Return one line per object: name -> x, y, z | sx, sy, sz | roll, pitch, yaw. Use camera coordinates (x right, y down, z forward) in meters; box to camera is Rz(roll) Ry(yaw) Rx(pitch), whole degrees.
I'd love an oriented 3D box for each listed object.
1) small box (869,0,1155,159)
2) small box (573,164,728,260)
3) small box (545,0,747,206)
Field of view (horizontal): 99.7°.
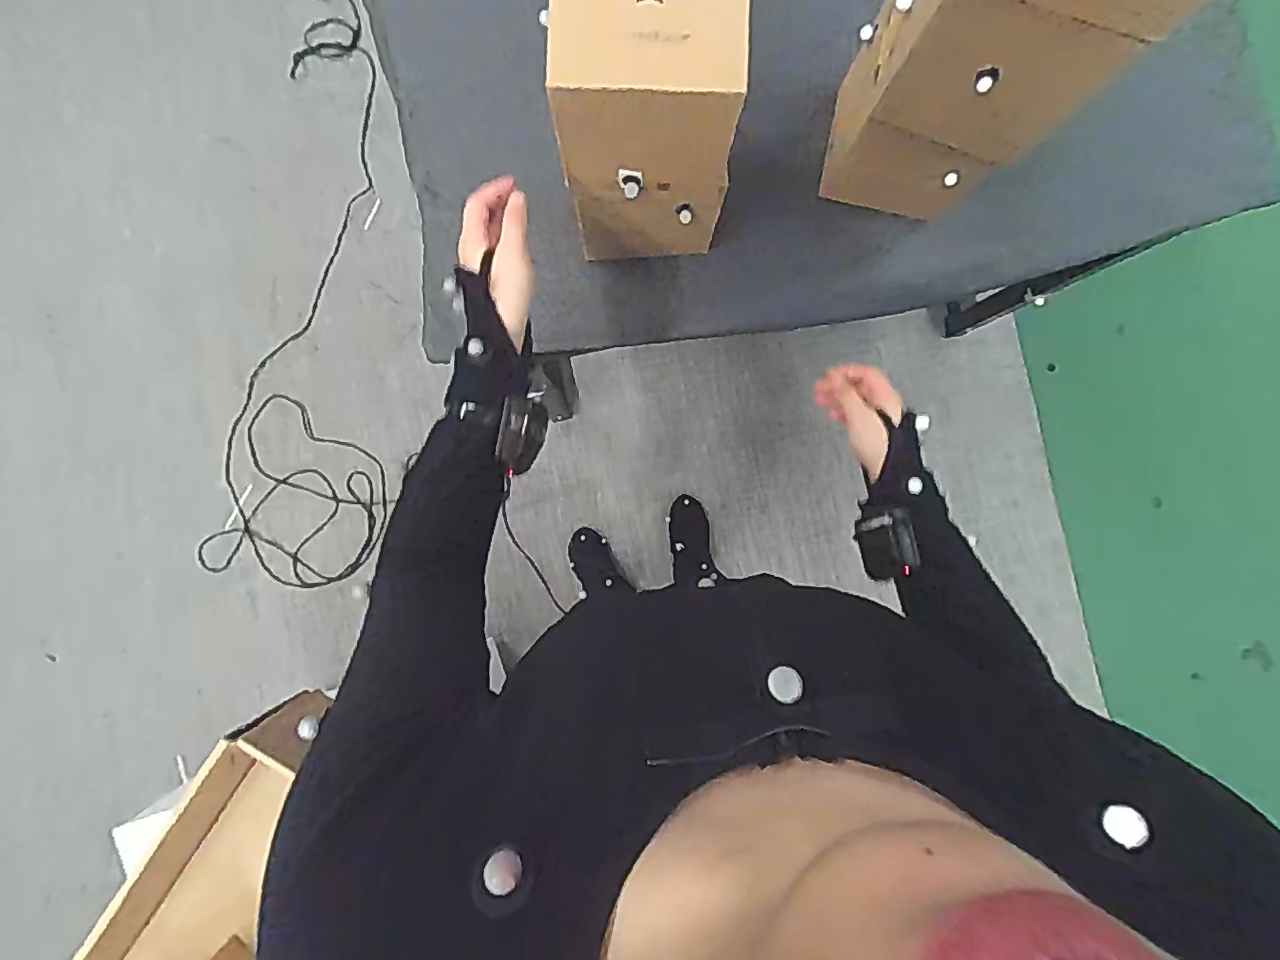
small box -> 0.358, -0.452, 0.522 | 0.179, 0.176, 0.168 | 19, 88, 0
small box -> 0.006, -0.396, 0.684 | 0.179, 0.176, 0.168 | -4, 88, 0
small box -> 0.006, -0.396, 0.521 | 0.168, 0.176, 0.179 | 1, 90, 1
